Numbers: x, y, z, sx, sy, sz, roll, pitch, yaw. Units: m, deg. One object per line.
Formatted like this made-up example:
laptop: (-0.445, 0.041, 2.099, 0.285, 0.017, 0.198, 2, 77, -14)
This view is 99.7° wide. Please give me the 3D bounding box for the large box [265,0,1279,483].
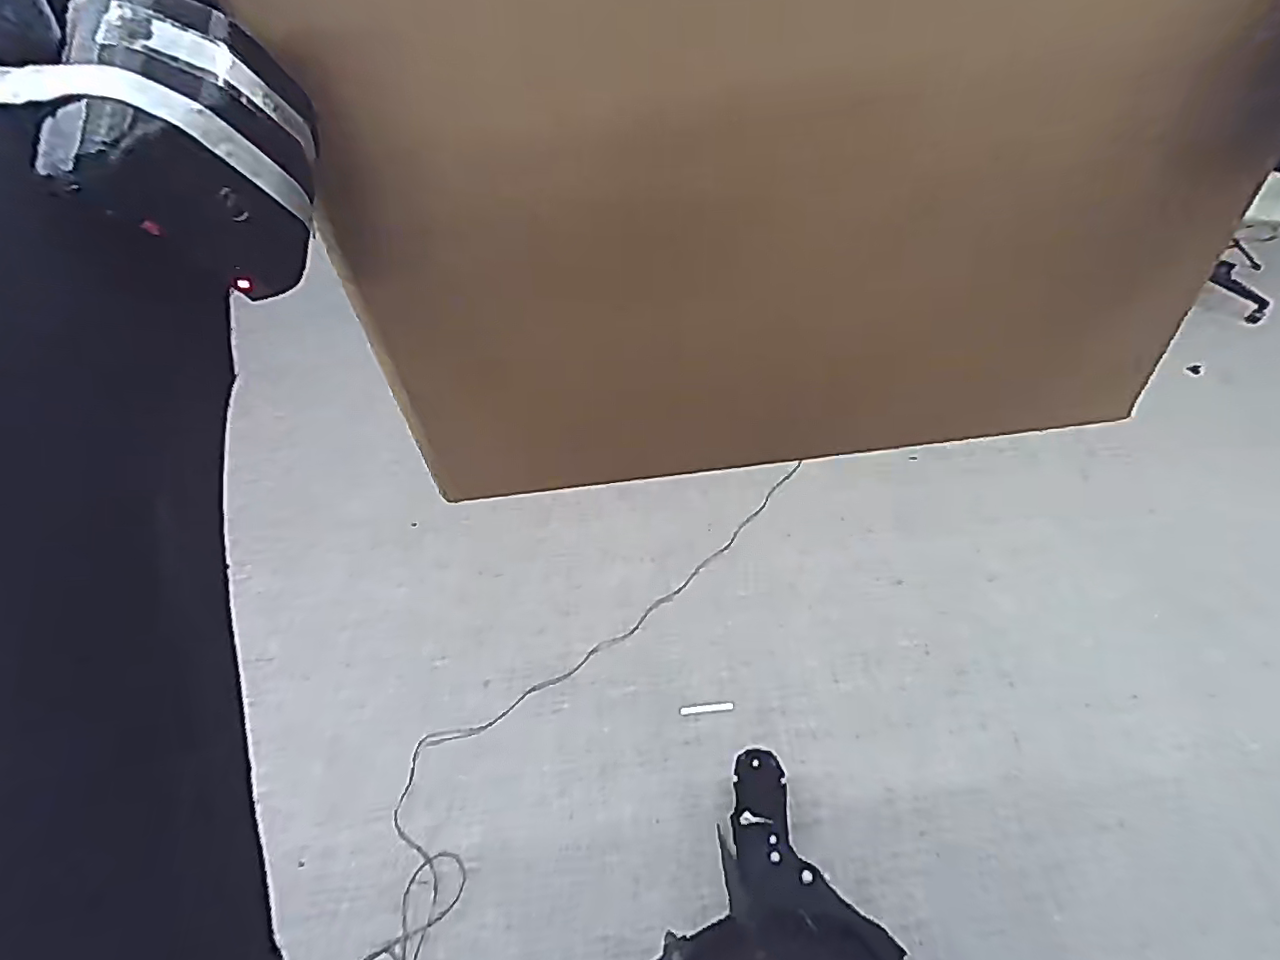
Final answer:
large box: (0.055, -0.228, 0.350, 0.408, 0.320, 0.320, -7, 40, -1)
